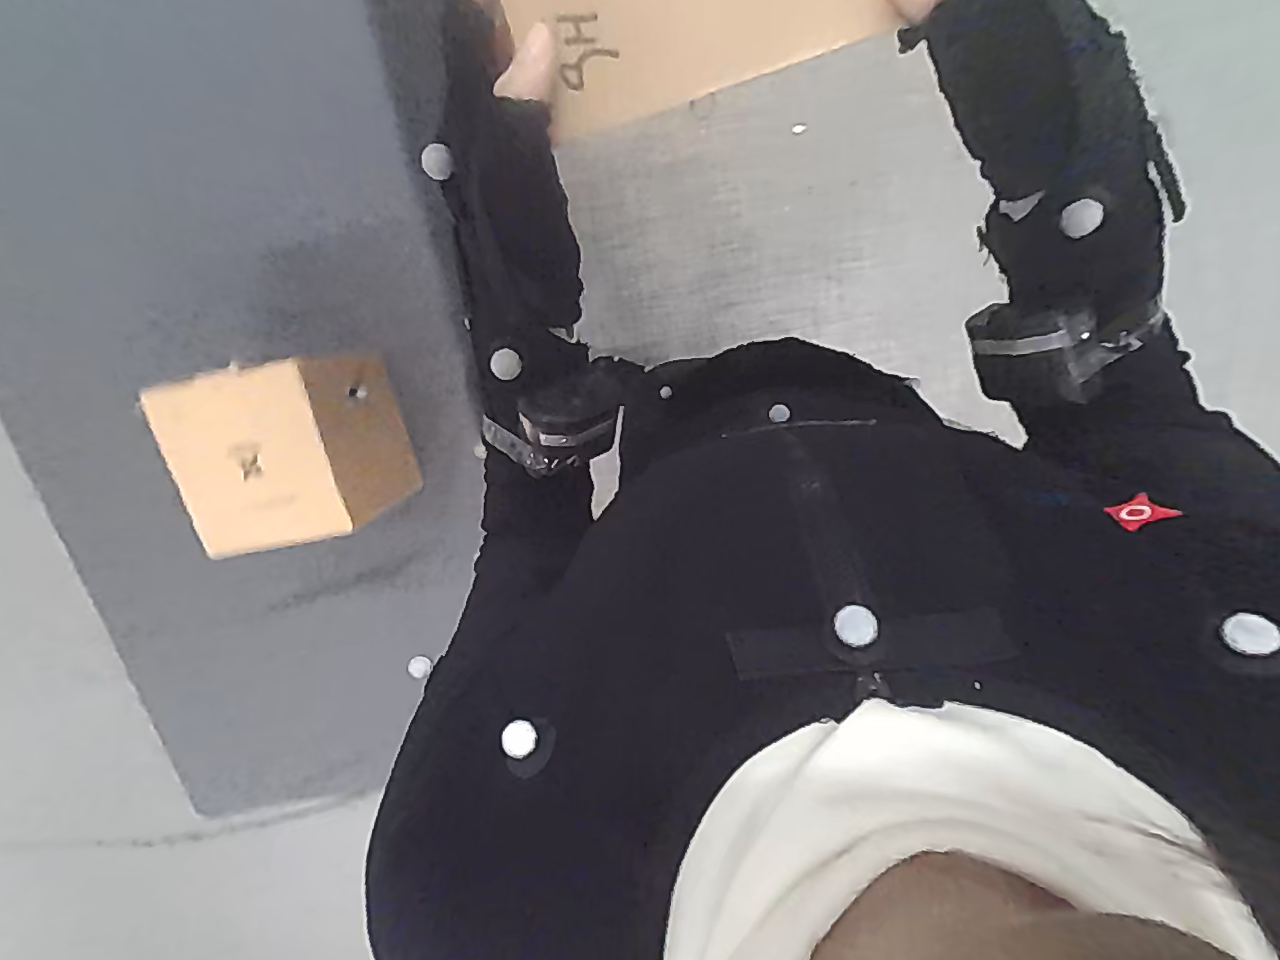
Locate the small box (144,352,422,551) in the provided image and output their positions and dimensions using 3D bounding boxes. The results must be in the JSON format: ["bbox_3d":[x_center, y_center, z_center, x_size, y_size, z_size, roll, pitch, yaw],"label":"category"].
[{"bbox_3d":[-0.378,-0.043,0.610,0.168,0.176,0.179,-11,106,6],"label":"small box"}]
